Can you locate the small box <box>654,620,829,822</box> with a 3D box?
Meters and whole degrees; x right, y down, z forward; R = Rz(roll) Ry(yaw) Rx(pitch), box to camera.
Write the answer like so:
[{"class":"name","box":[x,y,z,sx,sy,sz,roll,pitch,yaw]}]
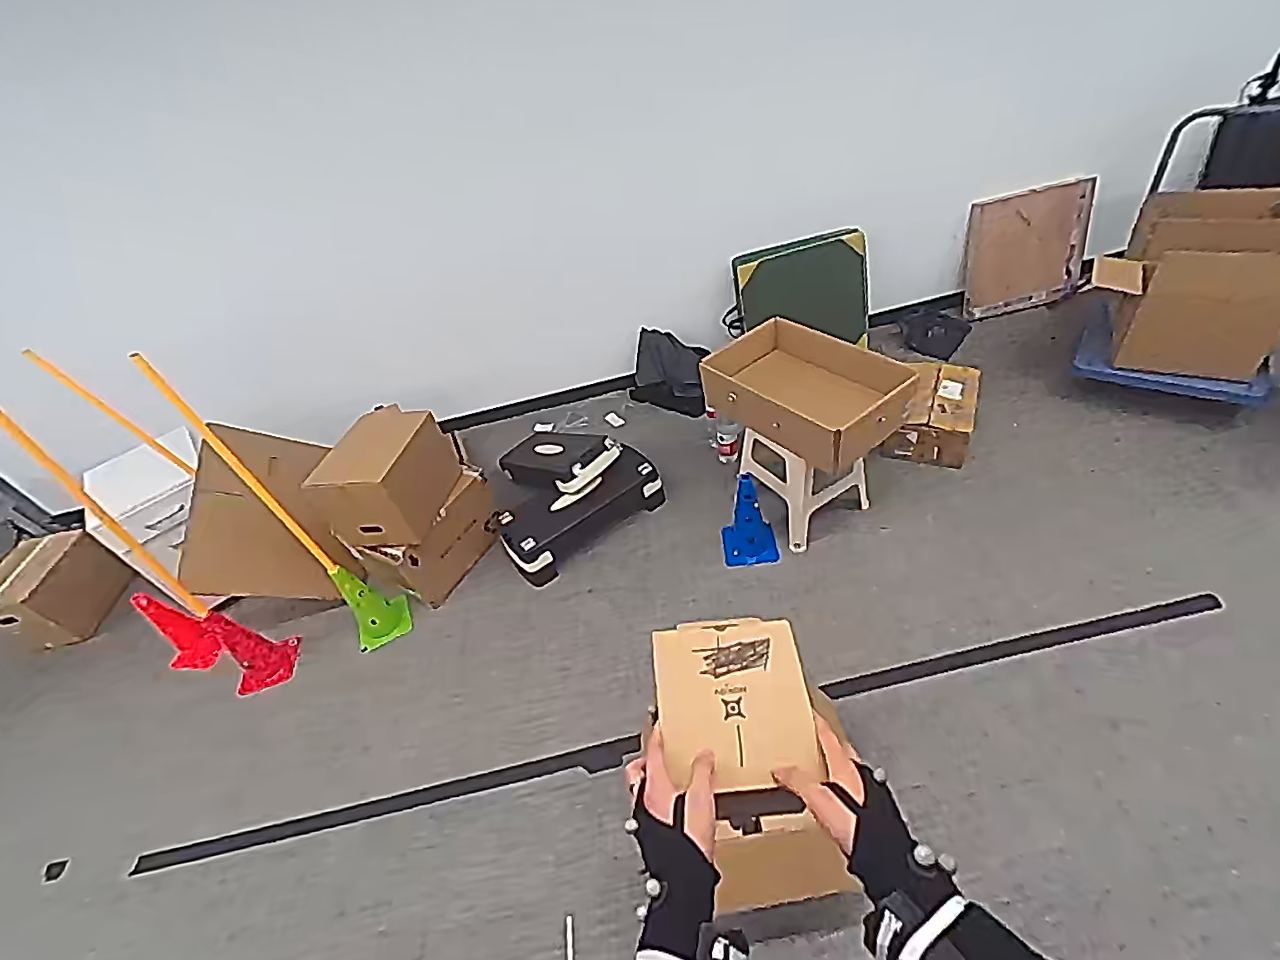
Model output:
[{"class":"small box","box":[0.107,0.291,0.651,0.168,0.176,0.179,-6,50,0]}]
